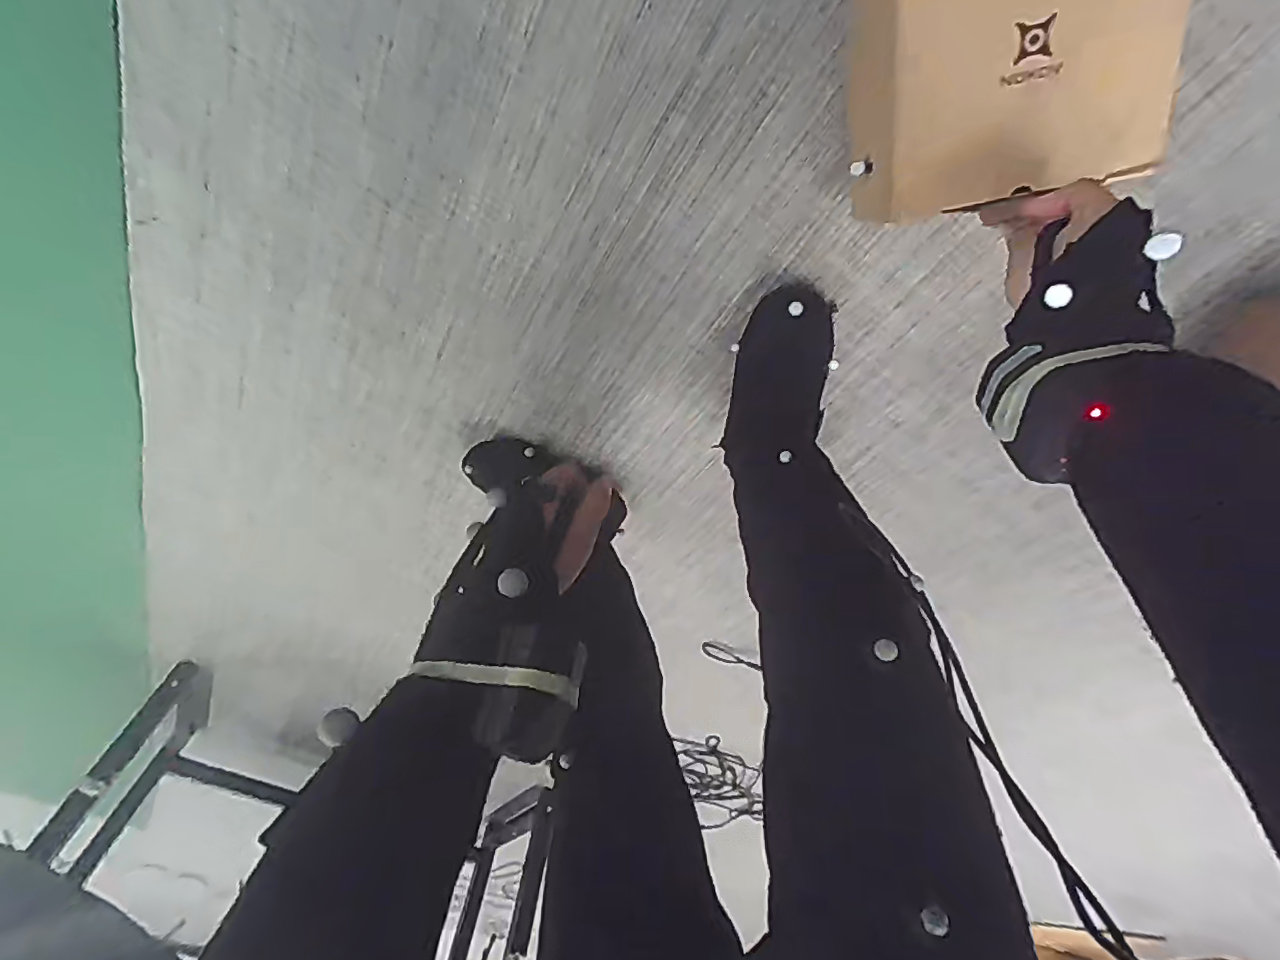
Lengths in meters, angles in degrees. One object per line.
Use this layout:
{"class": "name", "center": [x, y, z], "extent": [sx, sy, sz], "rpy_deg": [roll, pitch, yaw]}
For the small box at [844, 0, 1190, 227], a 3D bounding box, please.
{"class": "small box", "center": [0.258, -0.301, 0.410], "extent": [0.168, 0.176, 0.179], "rpy_deg": [-7, 111, 13]}
